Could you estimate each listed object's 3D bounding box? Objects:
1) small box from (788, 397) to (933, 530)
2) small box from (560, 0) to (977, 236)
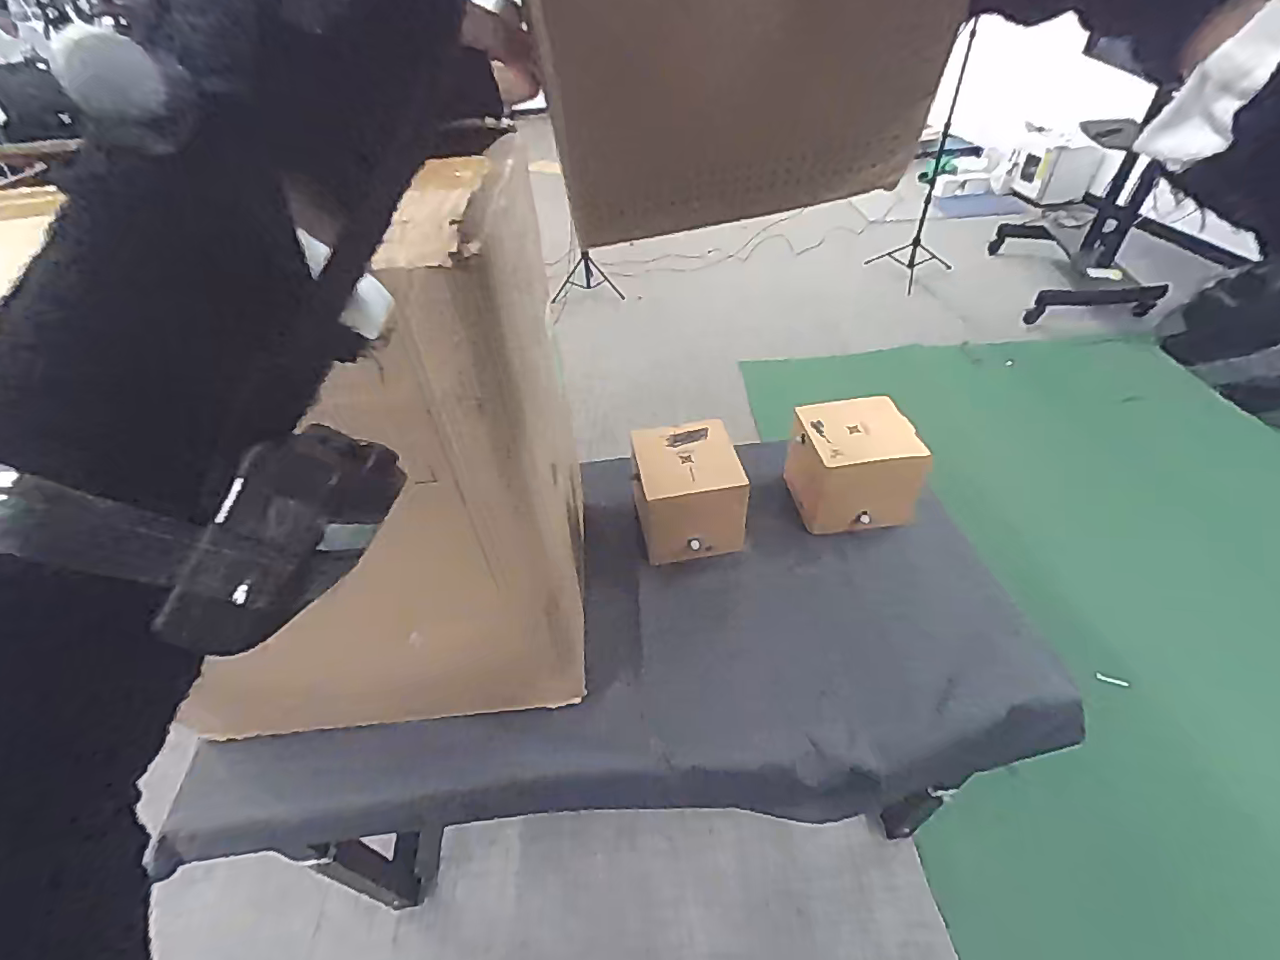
[{"bbox_3d":[0.384,-0.029,0.978,0.179,0.176,0.168,-6,44,-2],"label":"small box"},{"bbox_3d":[0.048,-0.245,0.259,0.179,0.176,0.168,-10,66,0],"label":"small box"}]
